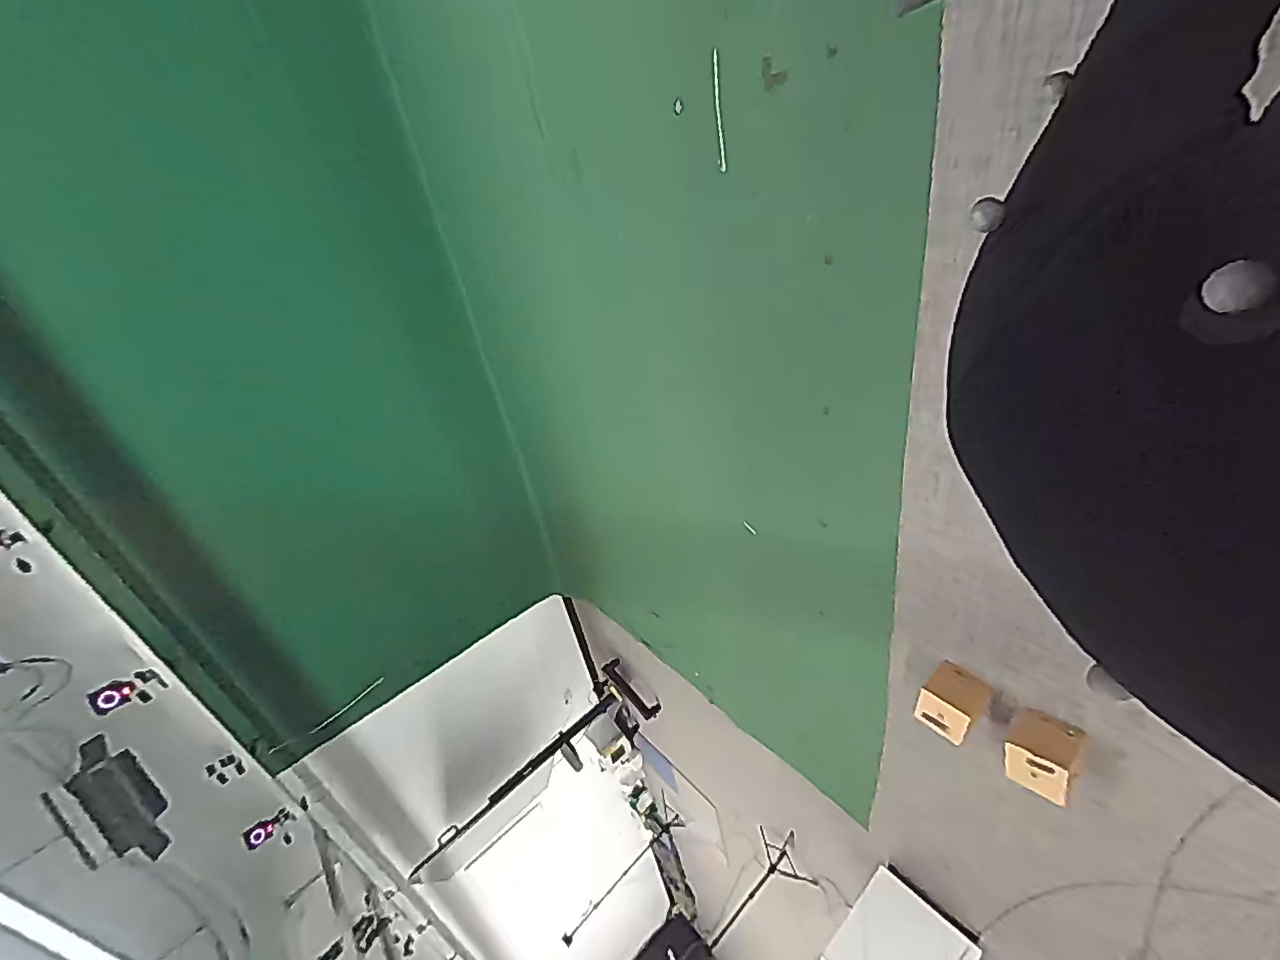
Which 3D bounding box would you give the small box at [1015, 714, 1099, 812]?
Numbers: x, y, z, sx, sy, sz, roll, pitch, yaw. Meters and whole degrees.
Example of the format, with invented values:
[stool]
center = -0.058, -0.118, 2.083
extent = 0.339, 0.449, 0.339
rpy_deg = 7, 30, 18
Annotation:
[small box]
center = 1.310, 0.878, 1.699
extent = 0.168, 0.176, 0.179
rpy_deg = 17, 131, 52
